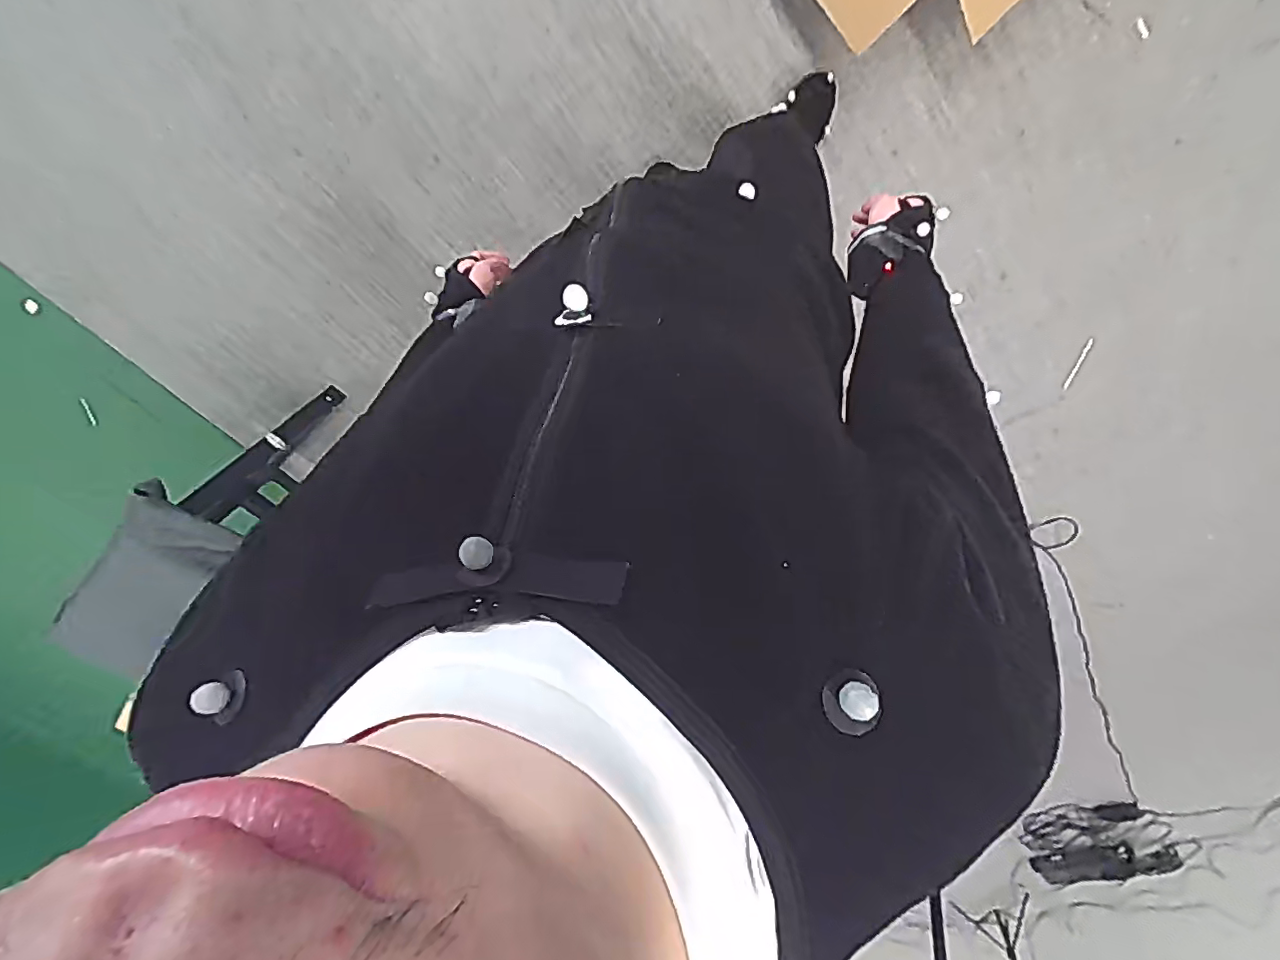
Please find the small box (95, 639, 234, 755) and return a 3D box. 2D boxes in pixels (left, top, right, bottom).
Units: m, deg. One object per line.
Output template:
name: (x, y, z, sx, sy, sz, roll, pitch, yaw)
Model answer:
small box: (-1.113, 0.509, 1.278, 0.168, 0.176, 0.179, 39, 121, -17)
